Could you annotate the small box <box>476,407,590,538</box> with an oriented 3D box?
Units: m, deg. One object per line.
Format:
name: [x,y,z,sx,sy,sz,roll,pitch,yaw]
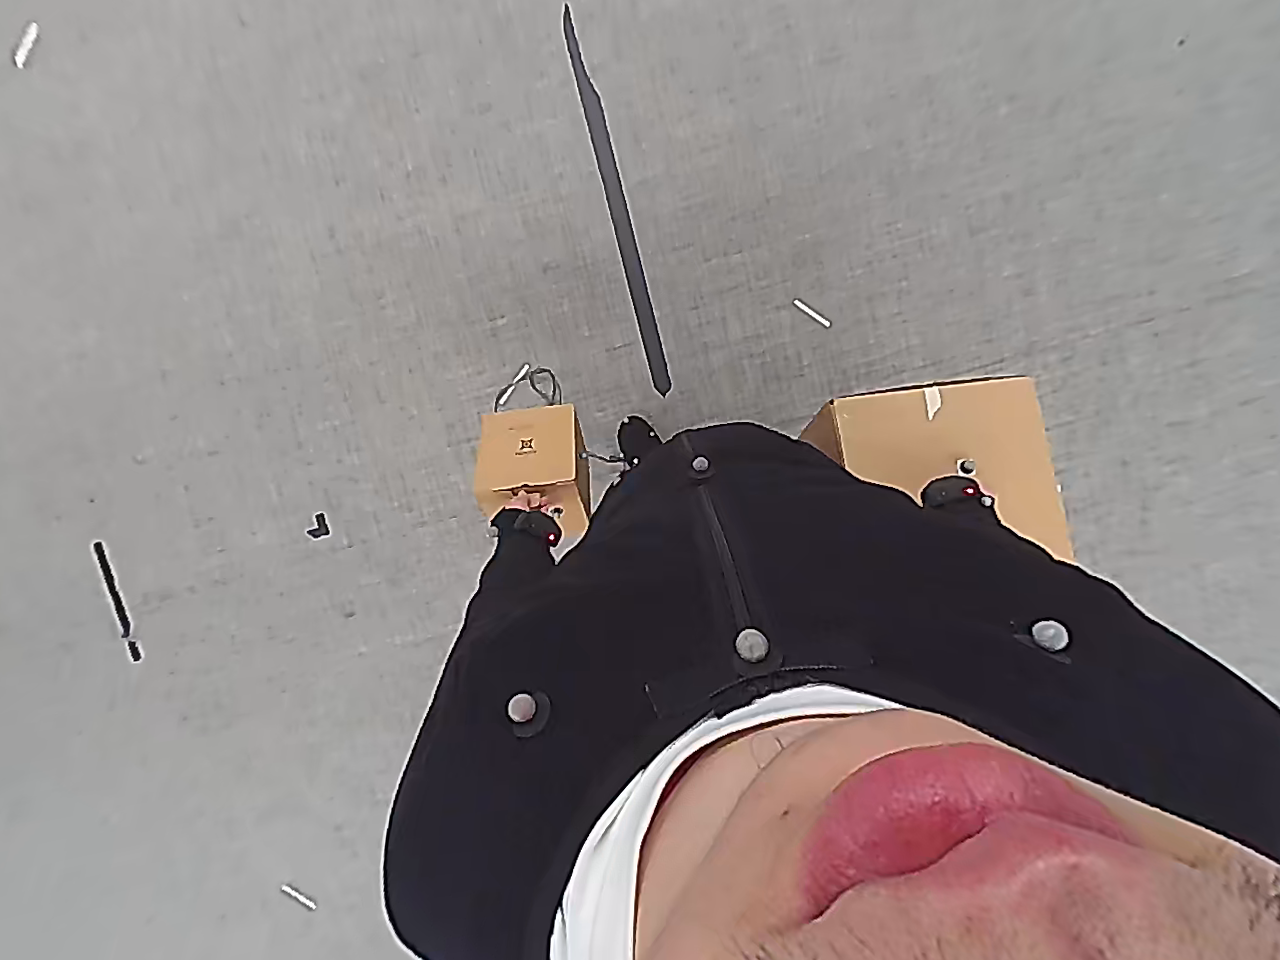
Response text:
small box: [-0.186,-0.006,0.986,0.168,0.179,0.176,-7,142,0]
